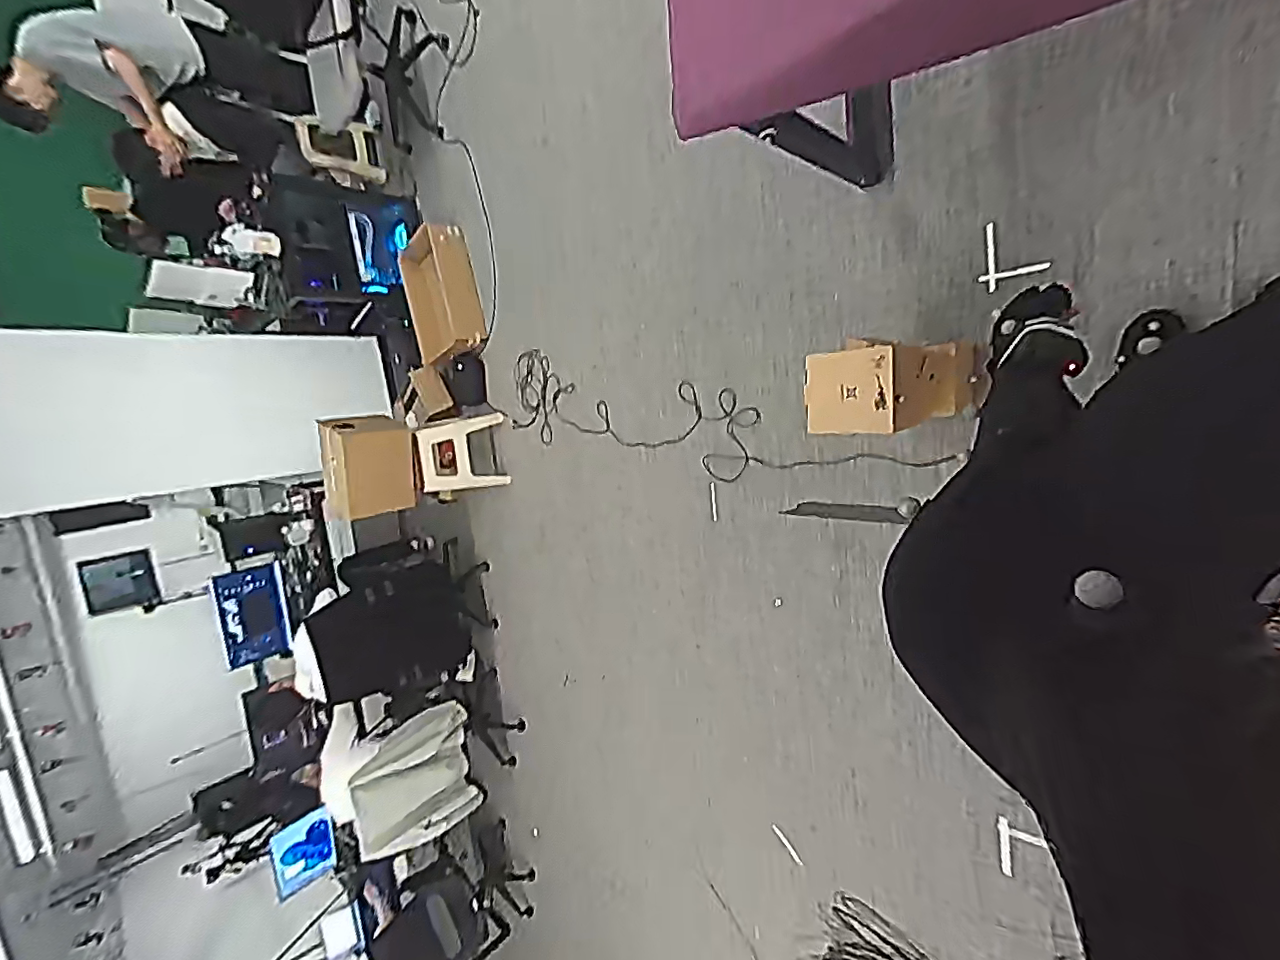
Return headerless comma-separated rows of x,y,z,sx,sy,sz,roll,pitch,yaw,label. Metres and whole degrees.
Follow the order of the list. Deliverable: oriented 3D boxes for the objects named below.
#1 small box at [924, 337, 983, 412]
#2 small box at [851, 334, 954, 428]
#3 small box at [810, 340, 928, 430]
0.711,-0.253,1.315,0.179,0.176,0.168,5,104,44,small box
0.575,-0.231,1.224,0.179,0.176,0.168,29,119,38,small box
0.468,-0.193,1.106,0.179,0.176,0.168,5,104,45,small box
